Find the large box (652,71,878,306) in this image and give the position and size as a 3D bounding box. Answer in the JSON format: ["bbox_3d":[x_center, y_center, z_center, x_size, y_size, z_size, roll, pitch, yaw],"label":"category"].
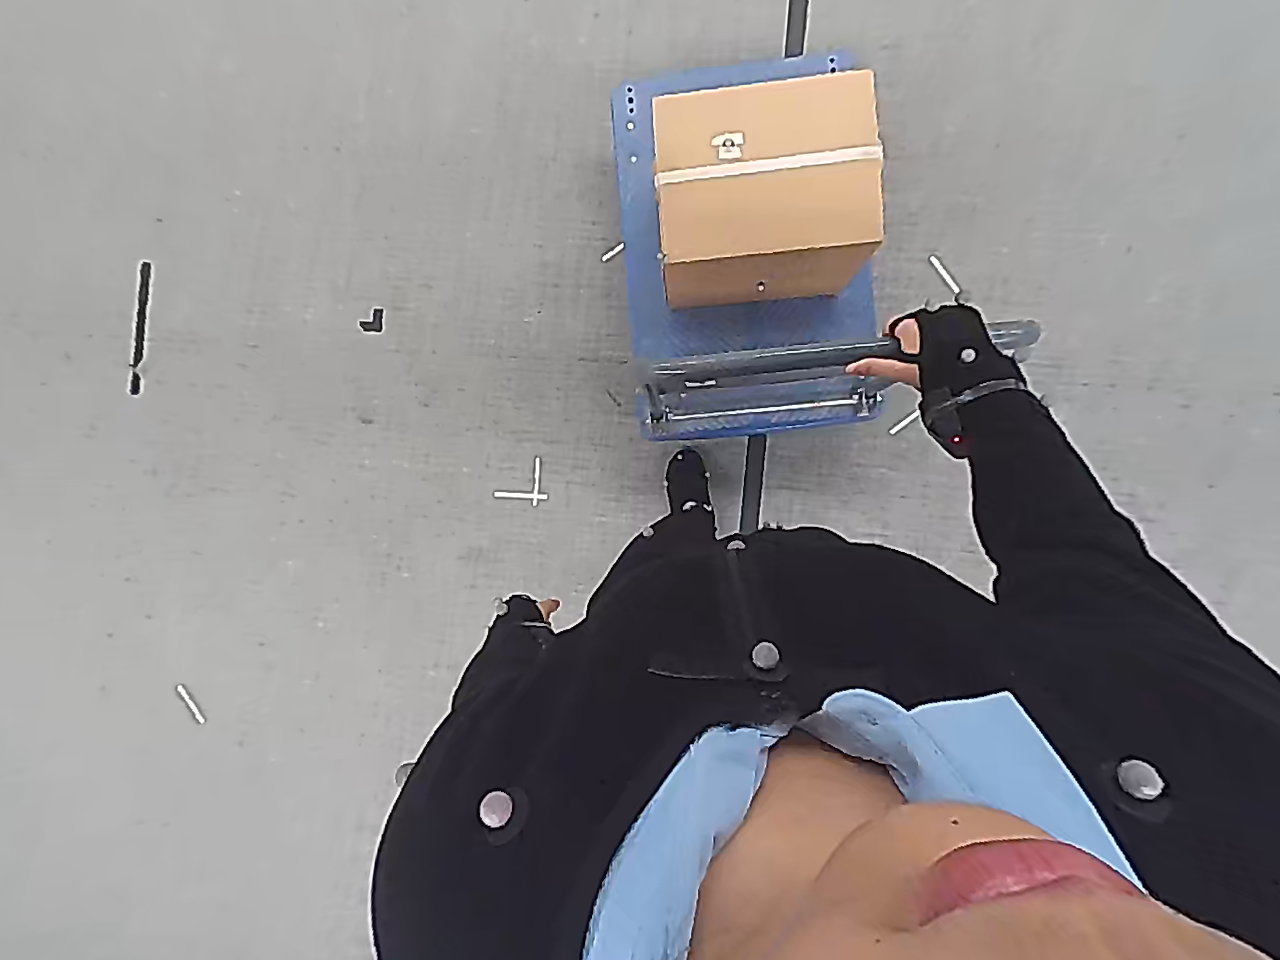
[{"bbox_3d":[0.249,-0.590,1.166,0.408,0.320,0.320,-4,90,6],"label":"large box"}]
